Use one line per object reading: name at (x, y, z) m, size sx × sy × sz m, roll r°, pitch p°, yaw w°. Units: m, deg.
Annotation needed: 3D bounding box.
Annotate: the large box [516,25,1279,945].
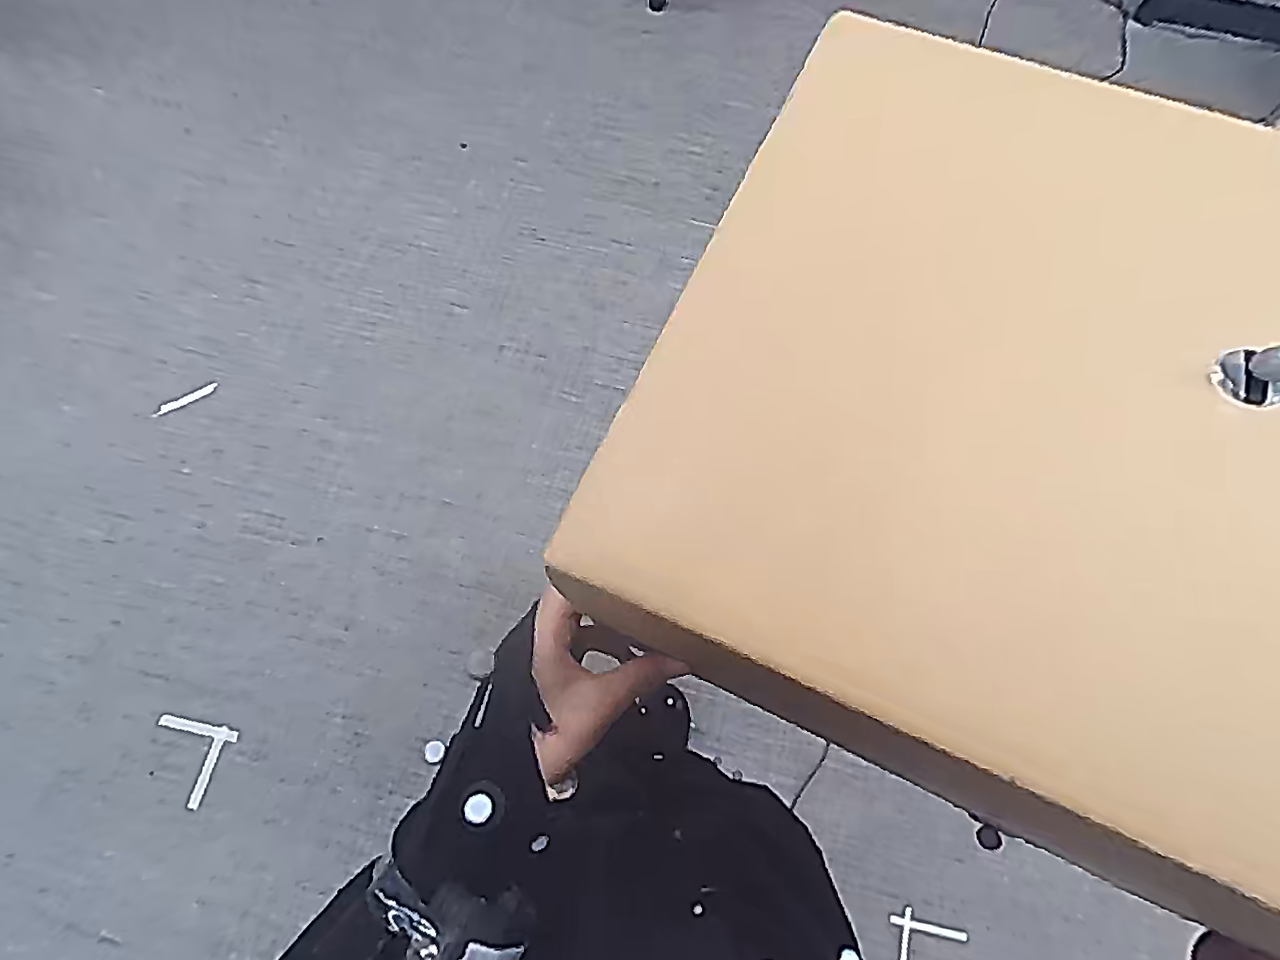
large box at (0.202, 0.016, 0.332) m, size 0.408 × 0.320 × 0.320 m, roll 22°, pitch 74°, yaw 10°
